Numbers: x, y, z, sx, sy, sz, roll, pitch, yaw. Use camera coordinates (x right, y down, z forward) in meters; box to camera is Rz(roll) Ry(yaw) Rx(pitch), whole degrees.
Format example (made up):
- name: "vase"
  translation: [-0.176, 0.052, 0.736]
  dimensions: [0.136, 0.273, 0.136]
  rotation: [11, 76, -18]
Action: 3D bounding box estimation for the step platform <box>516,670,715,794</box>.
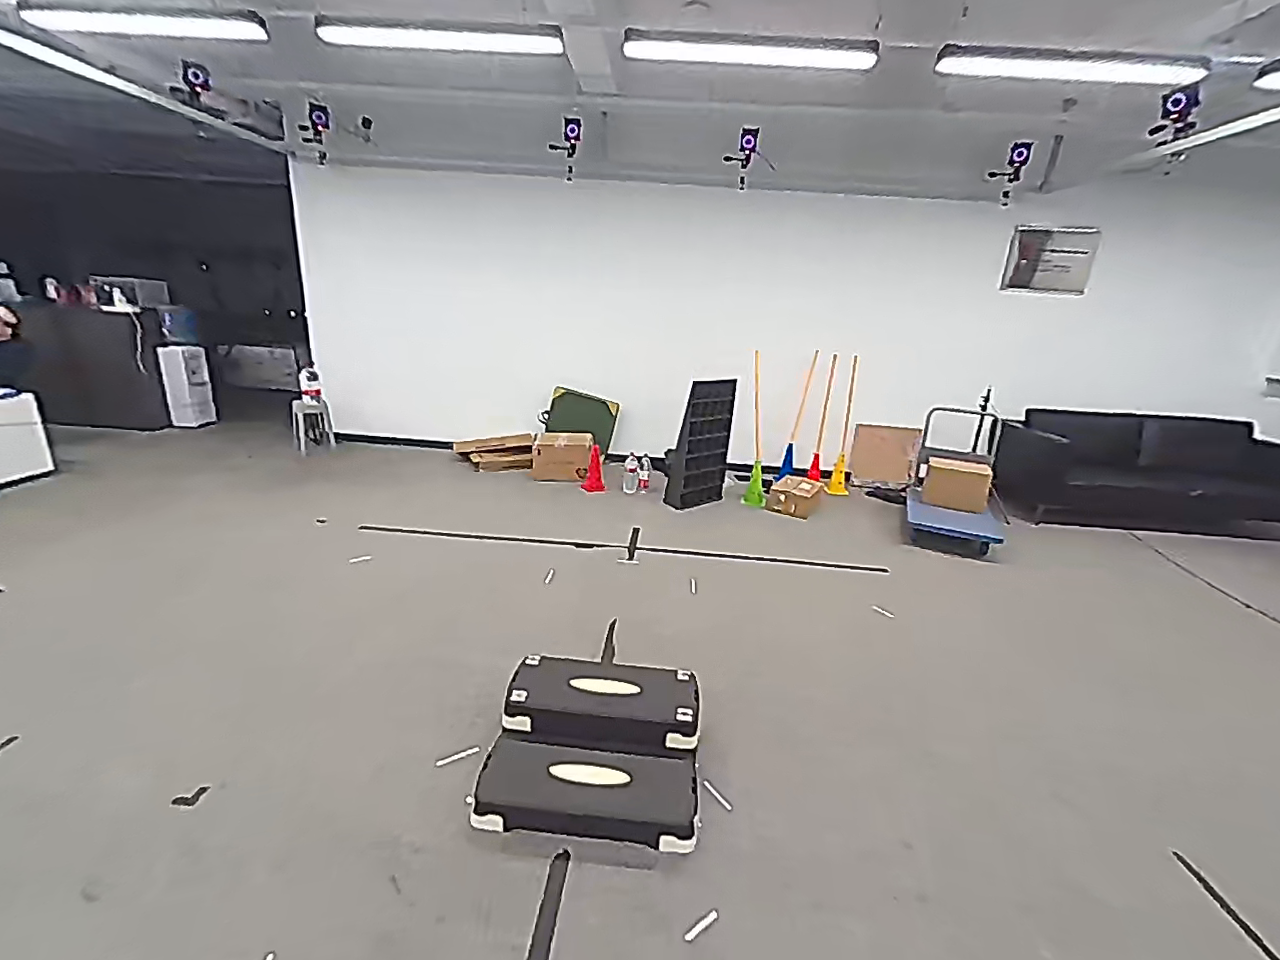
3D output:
- name: "step platform"
  translation: [-0.080, 0.872, 1.908]
  dimensions: [0.684, 0.204, 0.286]
  rotation: [6, 17, 8]
